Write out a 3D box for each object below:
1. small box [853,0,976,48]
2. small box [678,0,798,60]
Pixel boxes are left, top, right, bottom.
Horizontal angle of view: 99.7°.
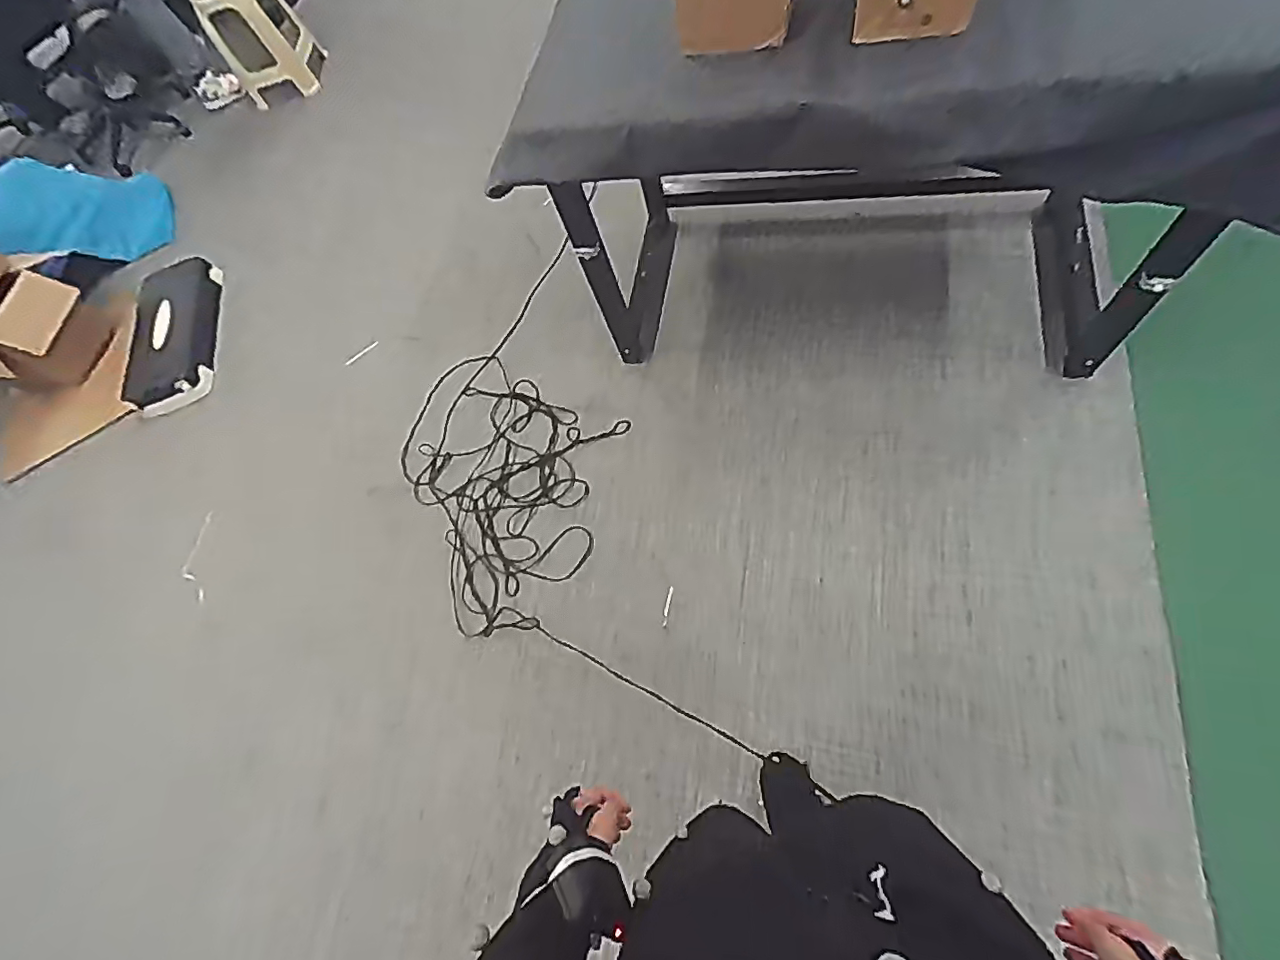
[{"bbox_3d":[0.415,-0.782,0.794,0.168,0.176,0.179,7,69,17],"label":"small box"},{"bbox_3d":[0.158,-0.816,0.871,0.179,0.176,0.168,9,70,16],"label":"small box"}]
